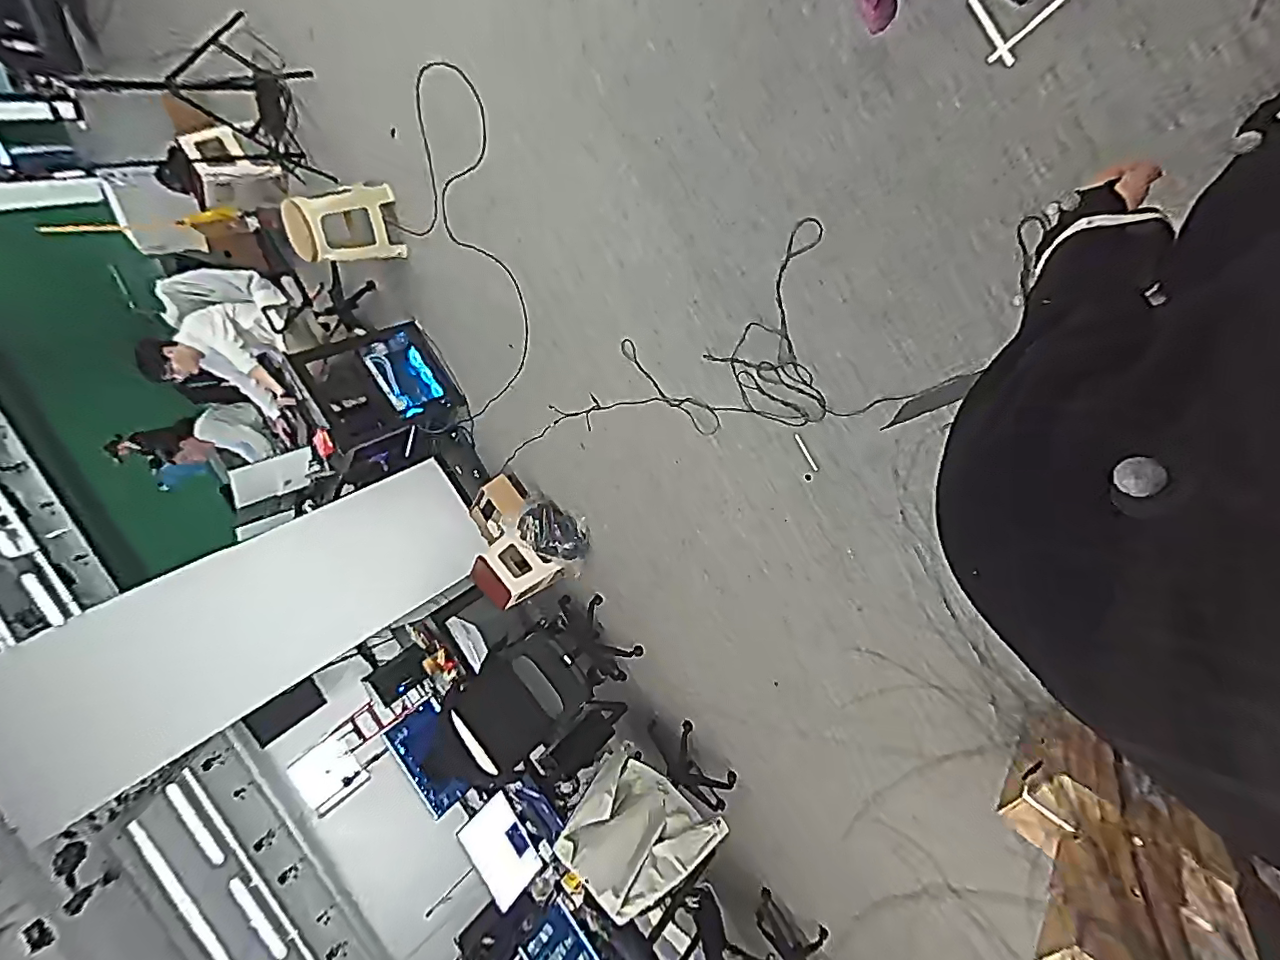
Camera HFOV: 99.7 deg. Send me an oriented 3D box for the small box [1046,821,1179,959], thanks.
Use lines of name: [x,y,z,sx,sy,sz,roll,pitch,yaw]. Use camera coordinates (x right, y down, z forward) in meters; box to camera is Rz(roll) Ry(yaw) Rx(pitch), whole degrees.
small box: [1.110,0.956,1.268,0.179,0.176,0.168,33,135,30]
